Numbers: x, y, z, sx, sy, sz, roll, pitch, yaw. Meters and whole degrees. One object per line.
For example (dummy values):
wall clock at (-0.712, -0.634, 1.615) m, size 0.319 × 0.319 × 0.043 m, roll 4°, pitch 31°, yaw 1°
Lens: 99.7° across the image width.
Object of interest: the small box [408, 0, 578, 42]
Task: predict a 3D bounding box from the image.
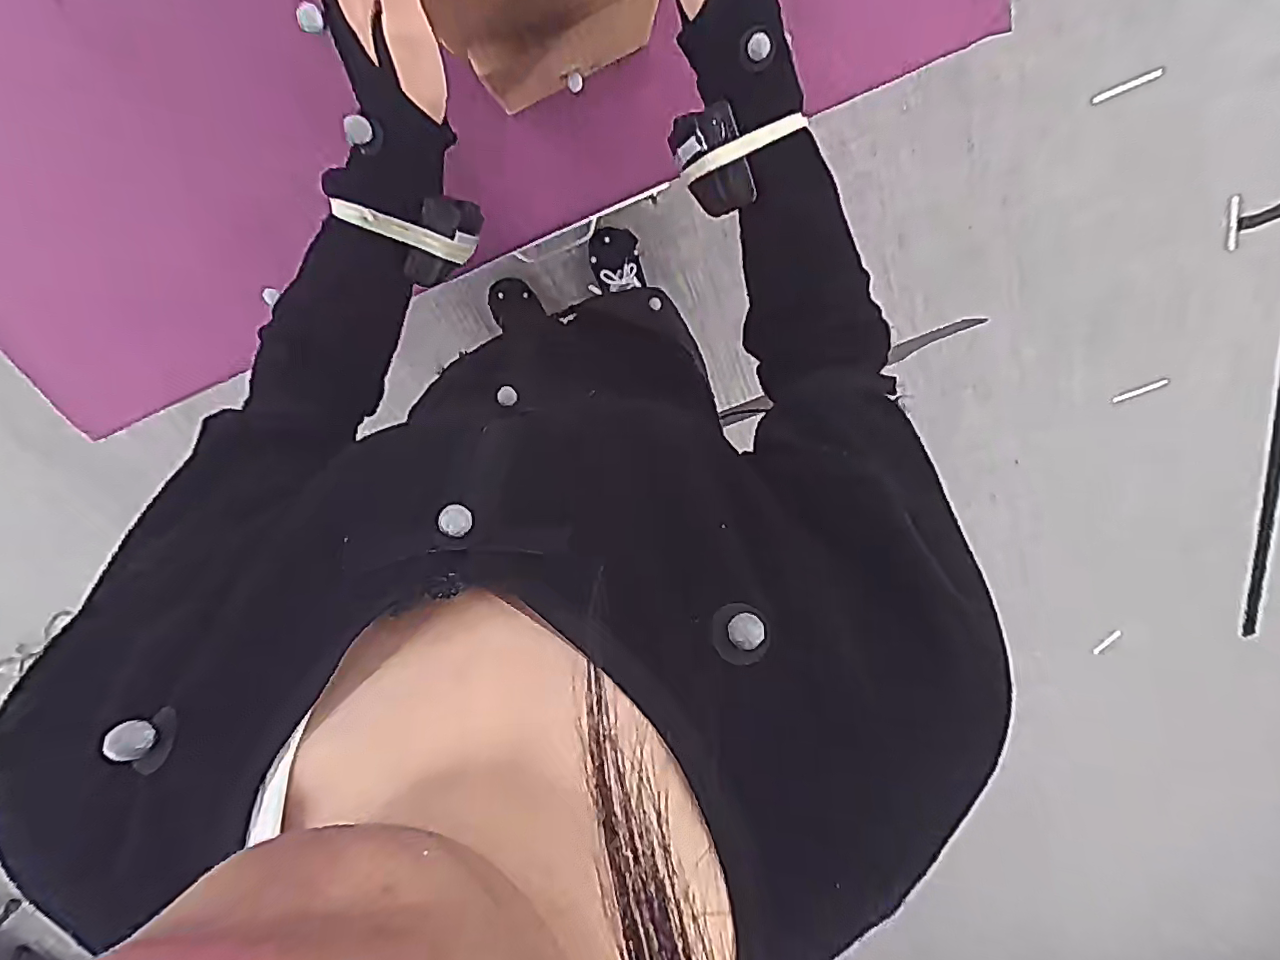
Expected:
small box at (-0.088, -0.401, 0.315) m, size 0.179 × 0.176 × 0.168 m, roll -17°, pitch 116°, yaw 5°

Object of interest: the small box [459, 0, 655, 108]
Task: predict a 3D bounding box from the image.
small box at (-0.097, -0.462, 0.466) m, size 0.168 × 0.176 × 0.179 m, roll -22°, pitch 116°, yaw 7°
